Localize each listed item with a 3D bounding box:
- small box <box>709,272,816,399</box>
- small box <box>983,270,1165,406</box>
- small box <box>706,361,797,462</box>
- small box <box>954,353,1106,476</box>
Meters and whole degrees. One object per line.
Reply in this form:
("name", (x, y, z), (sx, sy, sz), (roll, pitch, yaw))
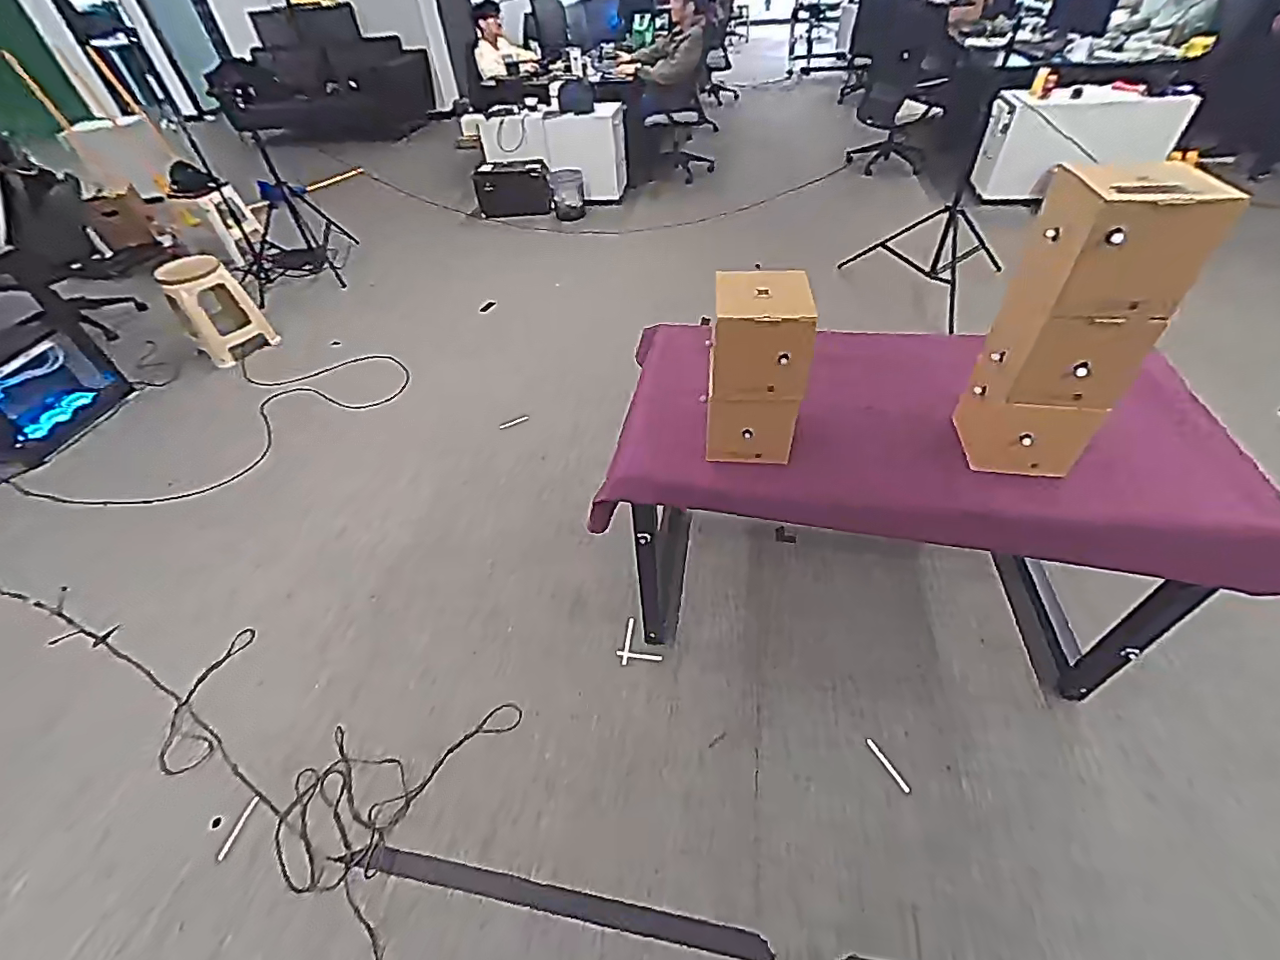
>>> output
("small box", (0.215, -0.262, 0.990), (0.168, 0.176, 0.179), (1, 44, 4))
("small box", (0.728, -0.245, 0.934), (0.168, 0.176, 0.179), (5, 46, 10))
("small box", (0.222, -0.153, 1.110), (0.168, 0.176, 0.179), (3, 45, 6))
("small box", (0.737, -0.126, 1.047), (0.168, 0.176, 0.179), (5, 45, 10))
